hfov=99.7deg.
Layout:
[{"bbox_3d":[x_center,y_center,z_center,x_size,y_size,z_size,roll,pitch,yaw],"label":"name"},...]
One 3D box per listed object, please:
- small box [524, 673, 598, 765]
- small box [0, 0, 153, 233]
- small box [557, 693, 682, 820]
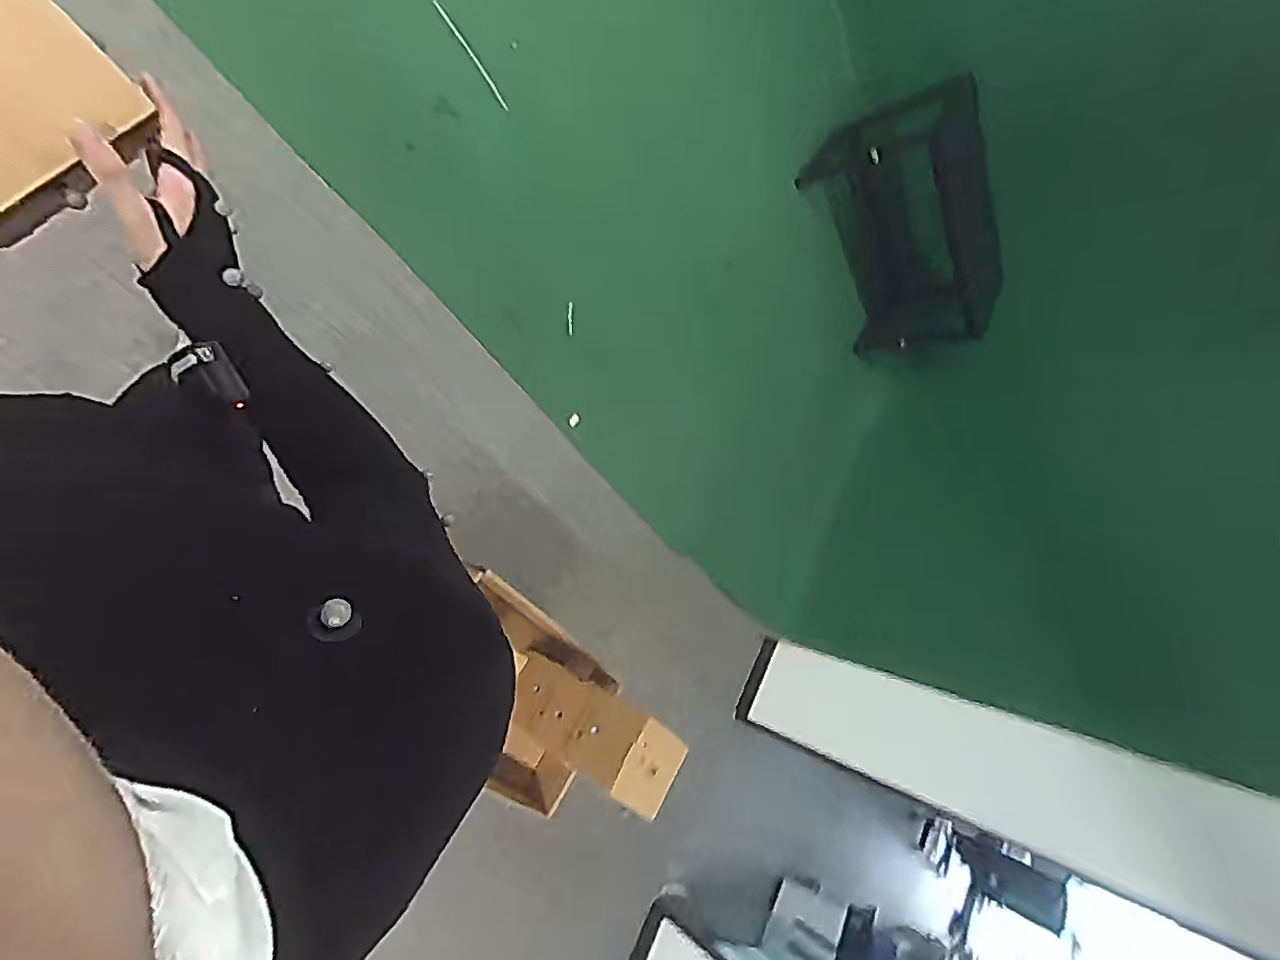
[{"bbox_3d":[-0.148,0.594,1.317,0.179,0.176,0.168,45,65,-36],"label":"small box"},{"bbox_3d":[-0.519,-0.306,0.402,0.179,0.176,0.168,-49,133,-12],"label":"small box"},{"bbox_3d":[-0.044,0.598,1.187,0.168,0.176,0.179,-54,127,-25],"label":"small box"}]
